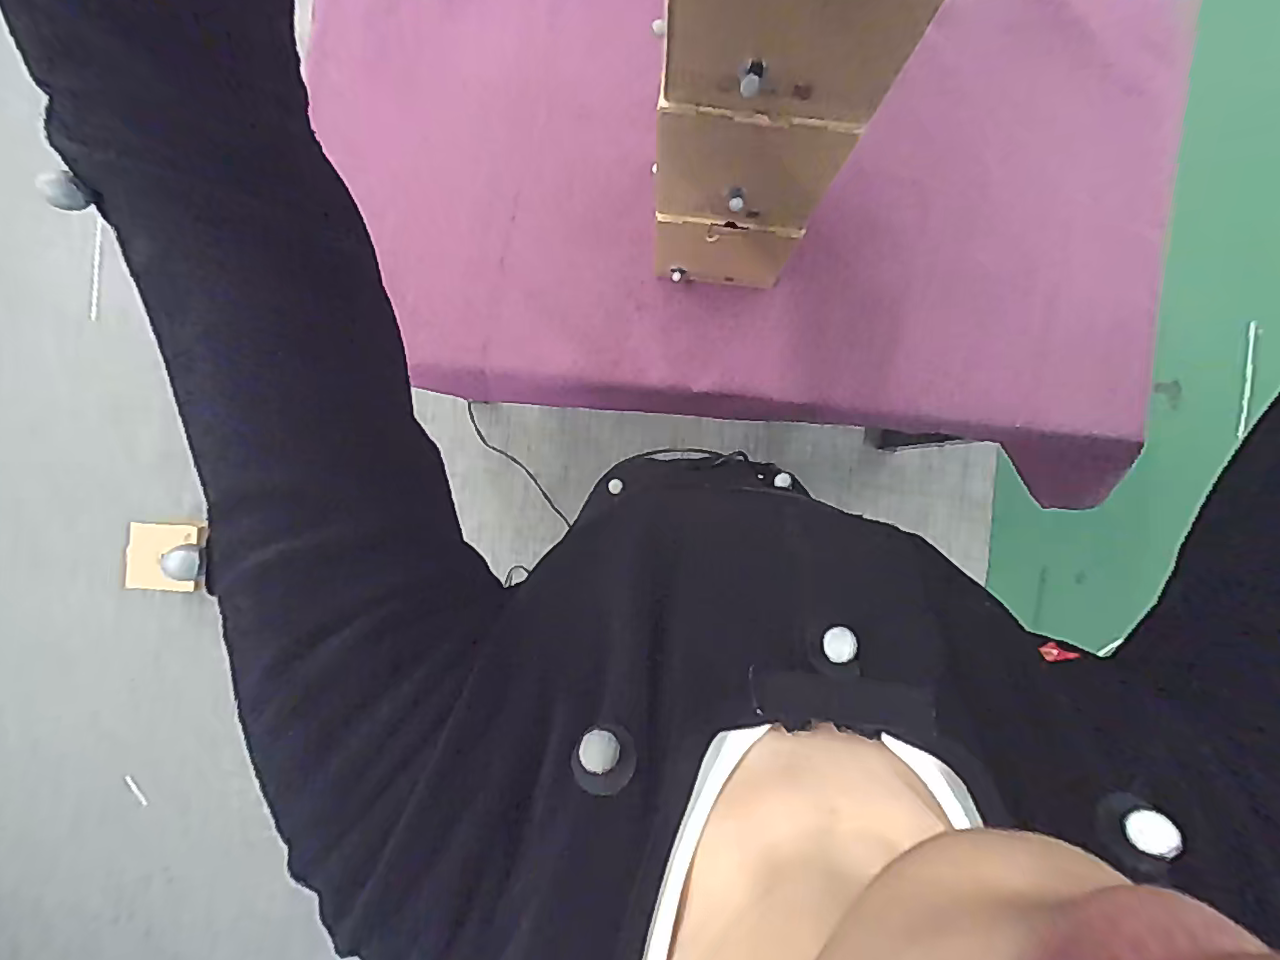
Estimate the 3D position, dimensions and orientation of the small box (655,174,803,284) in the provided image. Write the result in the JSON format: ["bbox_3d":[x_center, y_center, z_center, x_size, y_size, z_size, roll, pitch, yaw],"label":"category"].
[{"bbox_3d":[0.112,-0.363,0.674,0.168,0.176,0.179,8,89,1],"label":"small box"}]

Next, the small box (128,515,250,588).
[{"bbox_3d":[-1.181,0.182,1.424,0.179,0.176,0.168,5,90,2],"label":"small box"}]

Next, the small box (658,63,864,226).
[{"bbox_3d":[0.108,-0.372,0.510,0.168,0.176,0.179,7,90,2],"label":"small box"}]

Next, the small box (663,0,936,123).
[{"bbox_3d":[0.106,-0.377,0.347,0.168,0.176,0.179,7,90,2],"label":"small box"}]
